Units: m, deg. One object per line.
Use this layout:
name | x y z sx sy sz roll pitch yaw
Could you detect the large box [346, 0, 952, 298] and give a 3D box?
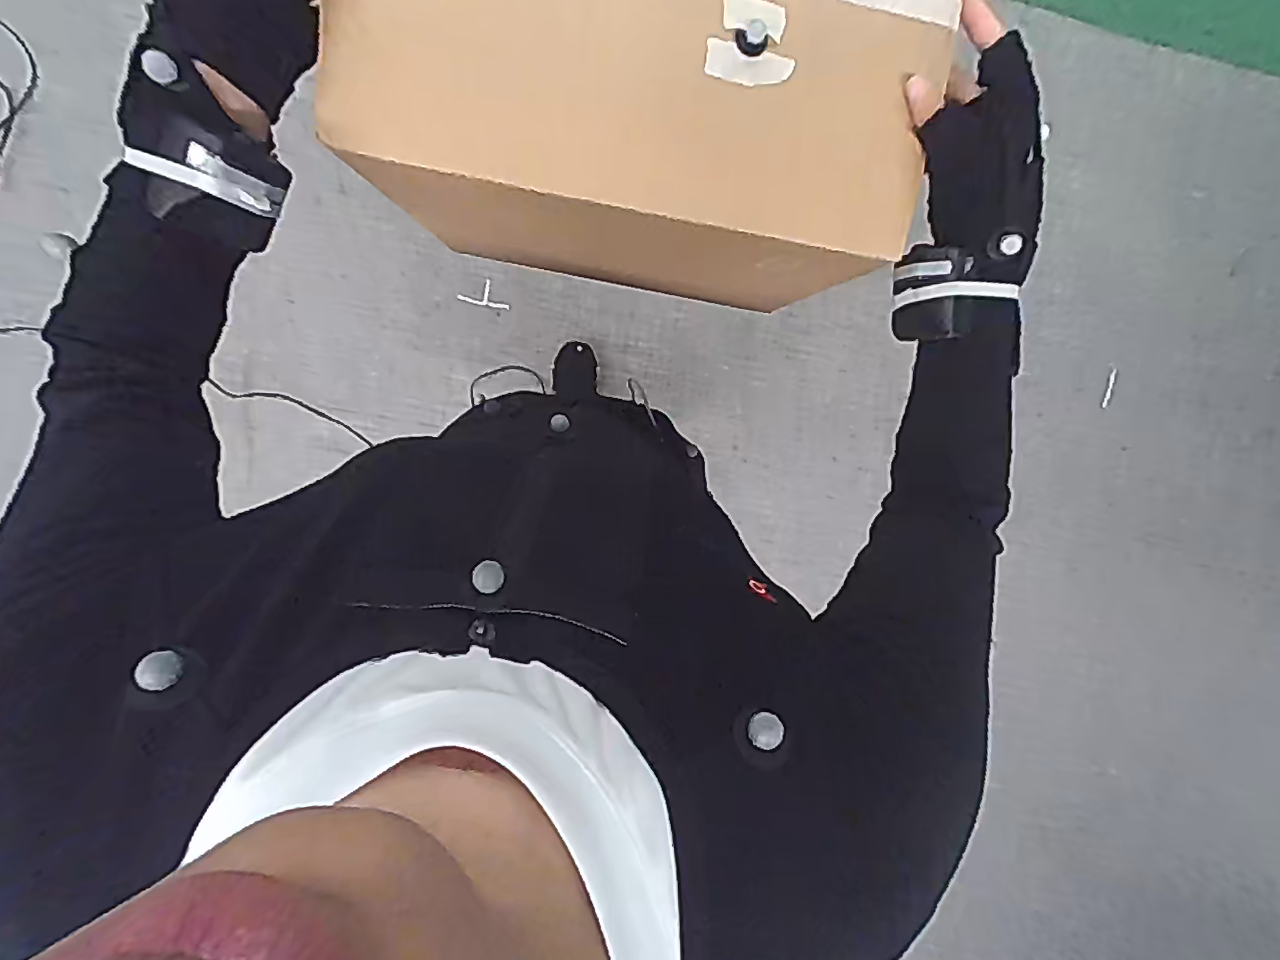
large box | 0.007 -0.377 0.501 0.408 0.320 0.320 9 101 -5
